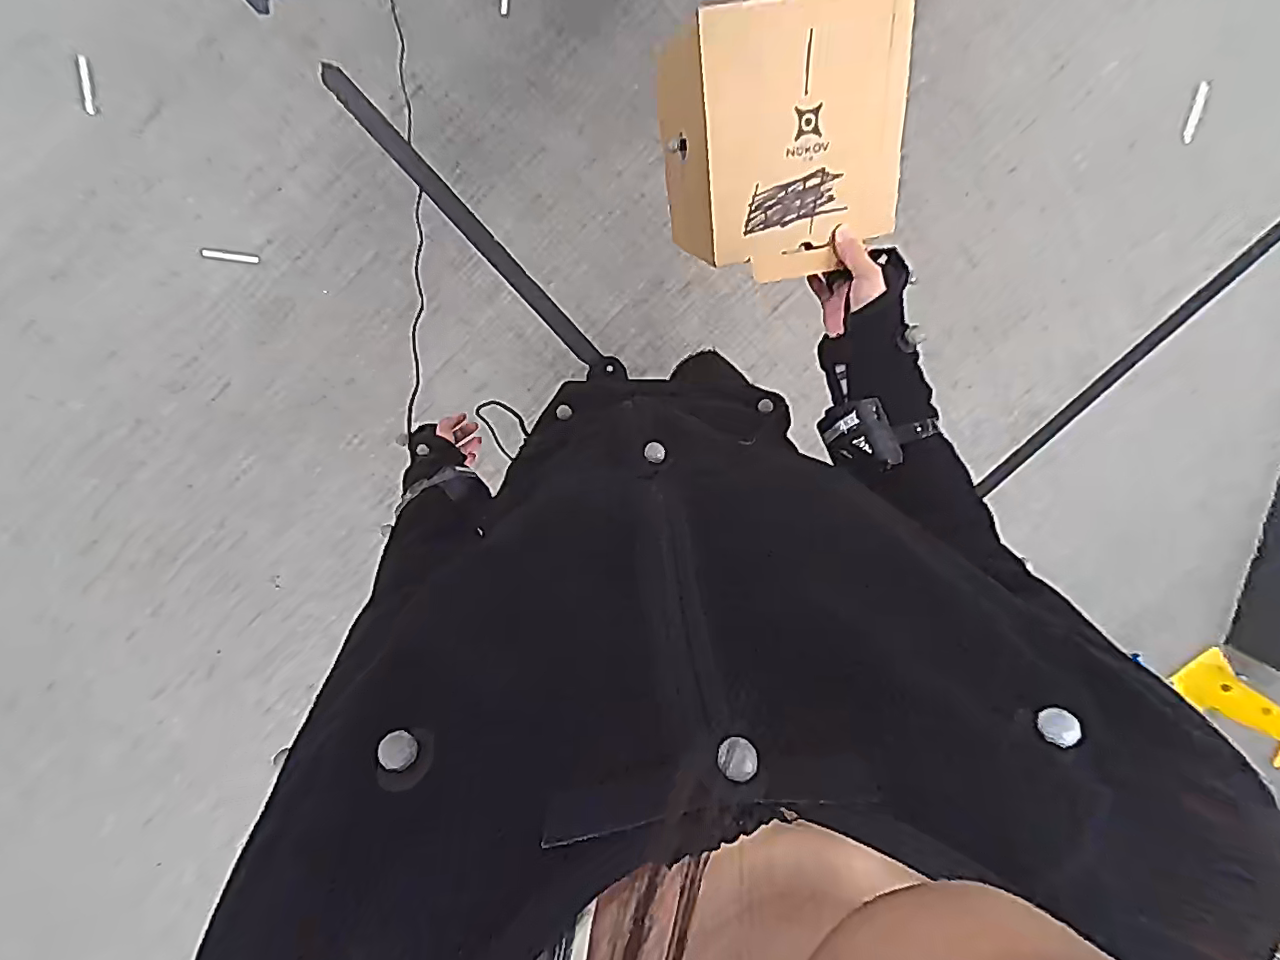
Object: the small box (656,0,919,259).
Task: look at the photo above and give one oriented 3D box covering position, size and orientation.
[{"bbox_3d":[0.117,-0.316,0.487,0.168,0.176,0.179,-13,121,-4],"label":"small box"}]
